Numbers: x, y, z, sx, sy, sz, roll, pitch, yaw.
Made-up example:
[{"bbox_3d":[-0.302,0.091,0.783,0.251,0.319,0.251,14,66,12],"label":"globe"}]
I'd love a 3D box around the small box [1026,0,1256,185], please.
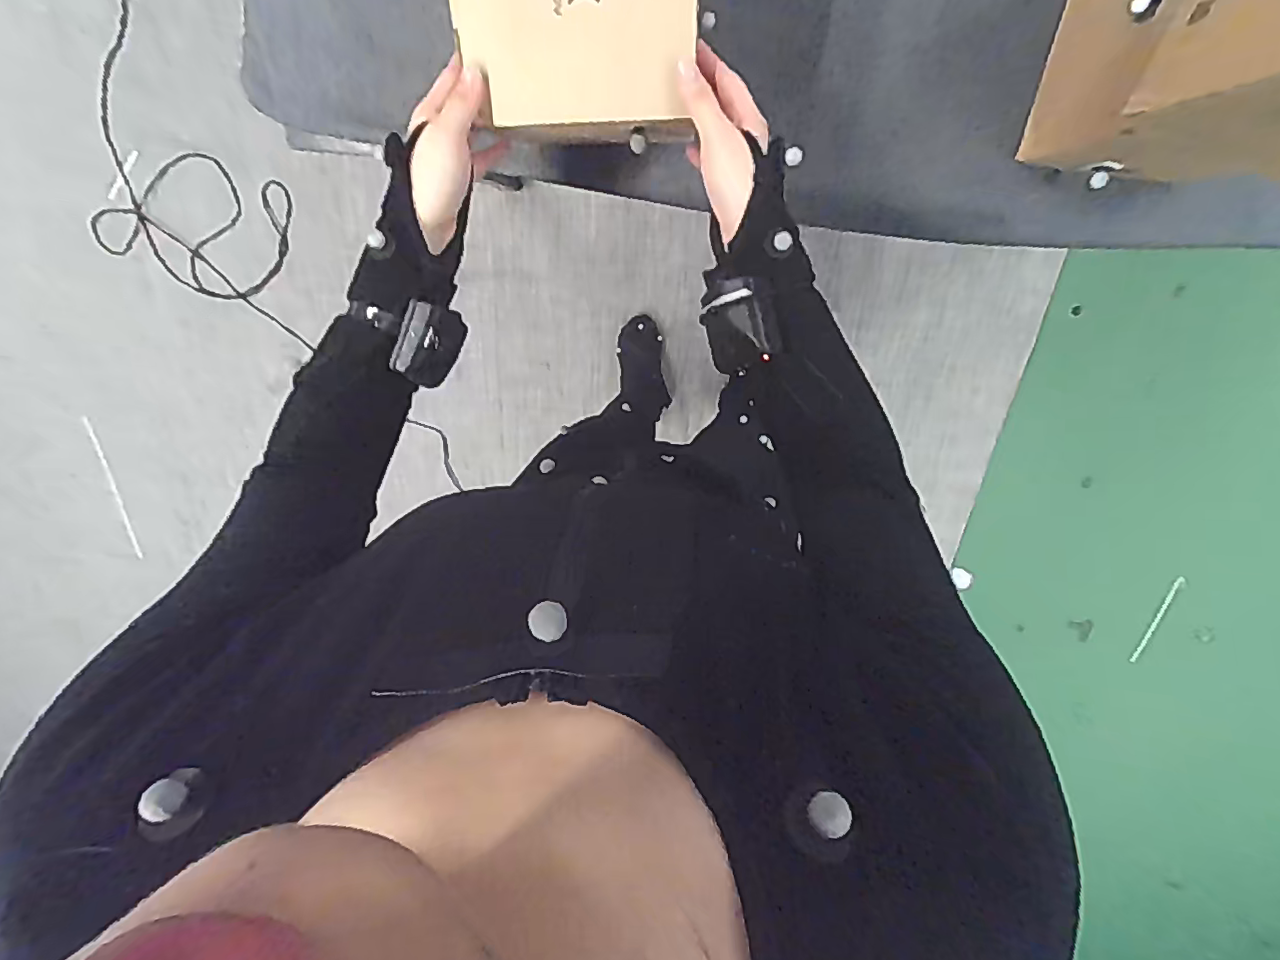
[{"bbox_3d":[0.474,-0.363,0.453,0.168,0.176,0.179,7,114,1],"label":"small box"}]

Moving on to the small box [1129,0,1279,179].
[{"bbox_3d":[0.464,-0.286,0.310,0.179,0.176,0.168,17,113,-3],"label":"small box"}]

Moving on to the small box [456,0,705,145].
[{"bbox_3d":[-0.036,-0.375,0.439,0.179,0.176,0.168,1,118,6],"label":"small box"}]
